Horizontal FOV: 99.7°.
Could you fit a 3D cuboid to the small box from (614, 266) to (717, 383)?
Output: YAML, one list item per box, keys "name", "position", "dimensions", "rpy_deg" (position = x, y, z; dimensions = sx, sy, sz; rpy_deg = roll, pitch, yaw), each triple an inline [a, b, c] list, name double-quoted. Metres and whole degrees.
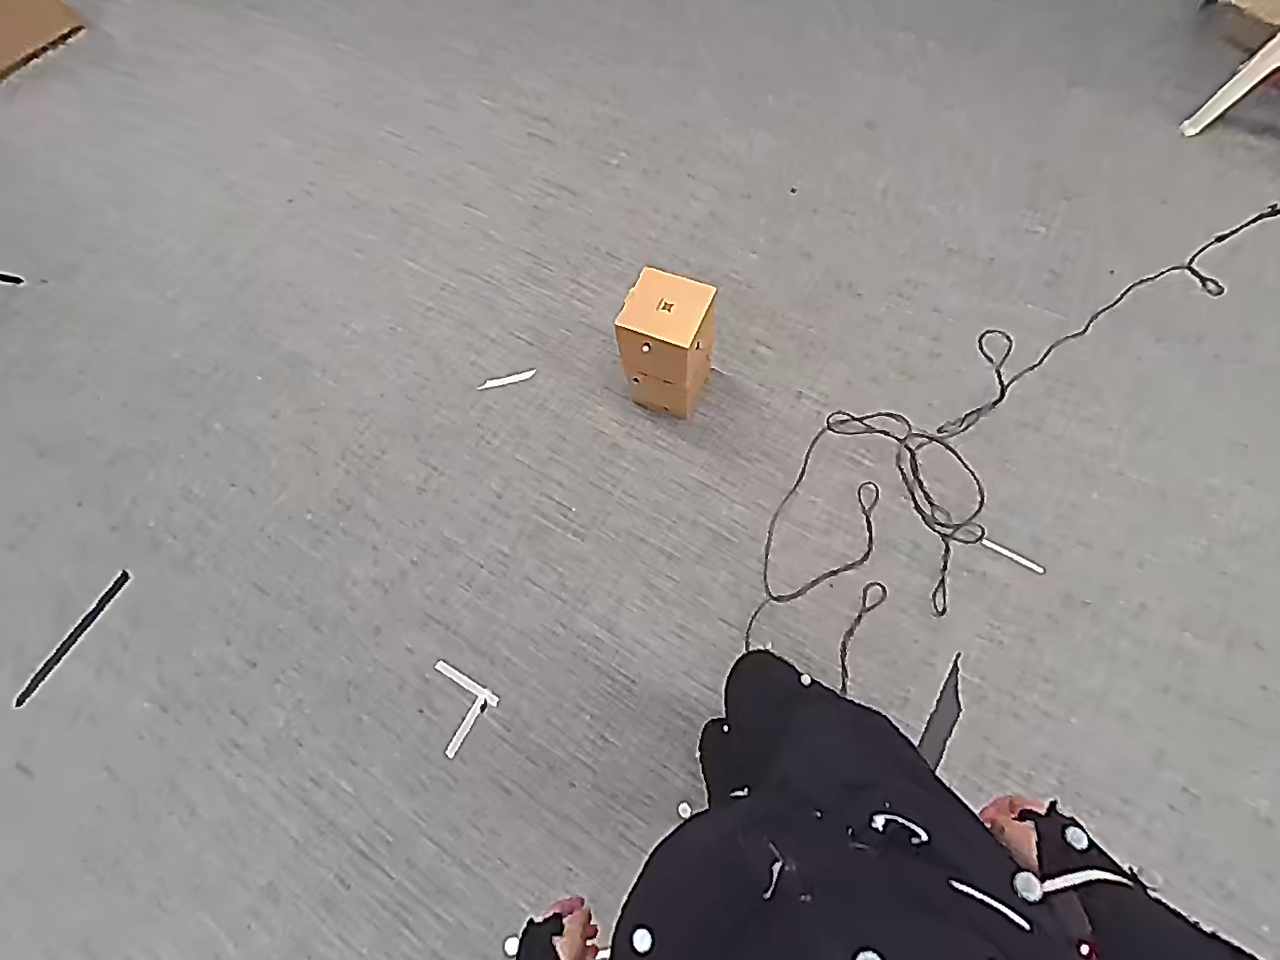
- name: "small box"
  position: [0.063, -0.343, 1.221]
  dimensions: [0.179, 0.176, 0.168]
  rpy_deg: [21, 73, 13]
